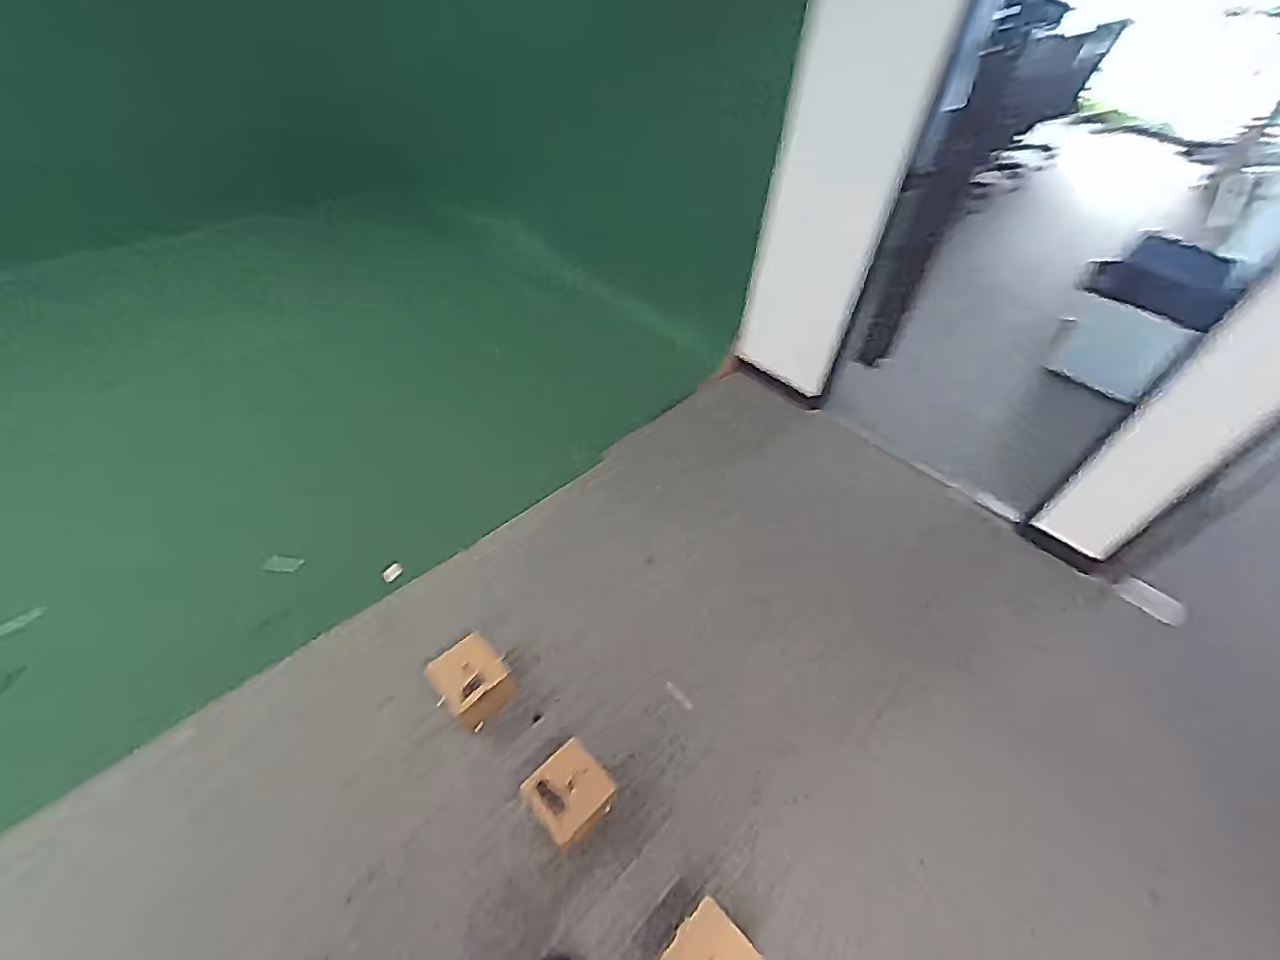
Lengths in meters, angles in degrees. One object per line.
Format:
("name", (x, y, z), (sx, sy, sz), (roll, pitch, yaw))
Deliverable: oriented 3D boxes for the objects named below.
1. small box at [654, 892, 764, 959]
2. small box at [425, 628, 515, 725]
("small box", (0.143, 1.031, 1.148), (0.168, 0.176, 0.179), (-34, 58, -29))
("small box", (-0.470, 0.560, 1.520), (0.168, 0.176, 0.179), (-33, 57, -30))
